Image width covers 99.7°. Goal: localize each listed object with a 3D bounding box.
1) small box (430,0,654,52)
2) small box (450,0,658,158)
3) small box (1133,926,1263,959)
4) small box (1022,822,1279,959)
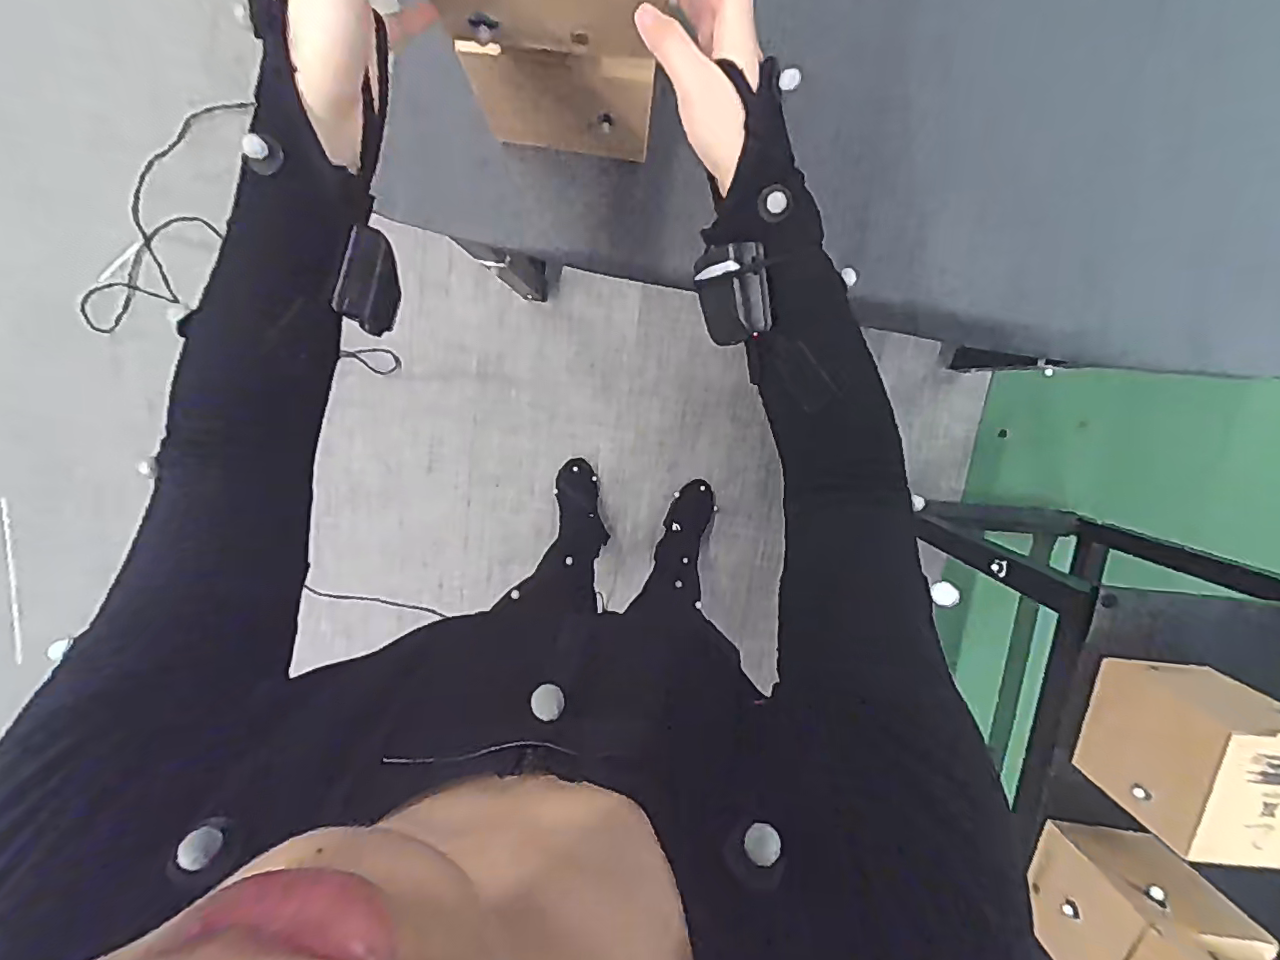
[{"bbox_3d":[-0.067,-0.406,0.332,0.168,0.176,0.179,2,102,-4],"label":"small box"},{"bbox_3d":[-0.073,-0.449,0.540,0.179,0.176,0.168,6,98,-2],"label":"small box"},{"bbox_3d":[0.666,0.654,0.592,0.168,0.176,0.179,18,99,-4],"label":"small box"},{"bbox_3d":[0.685,0.615,0.750,0.179,0.176,0.168,10,101,-3],"label":"small box"}]
